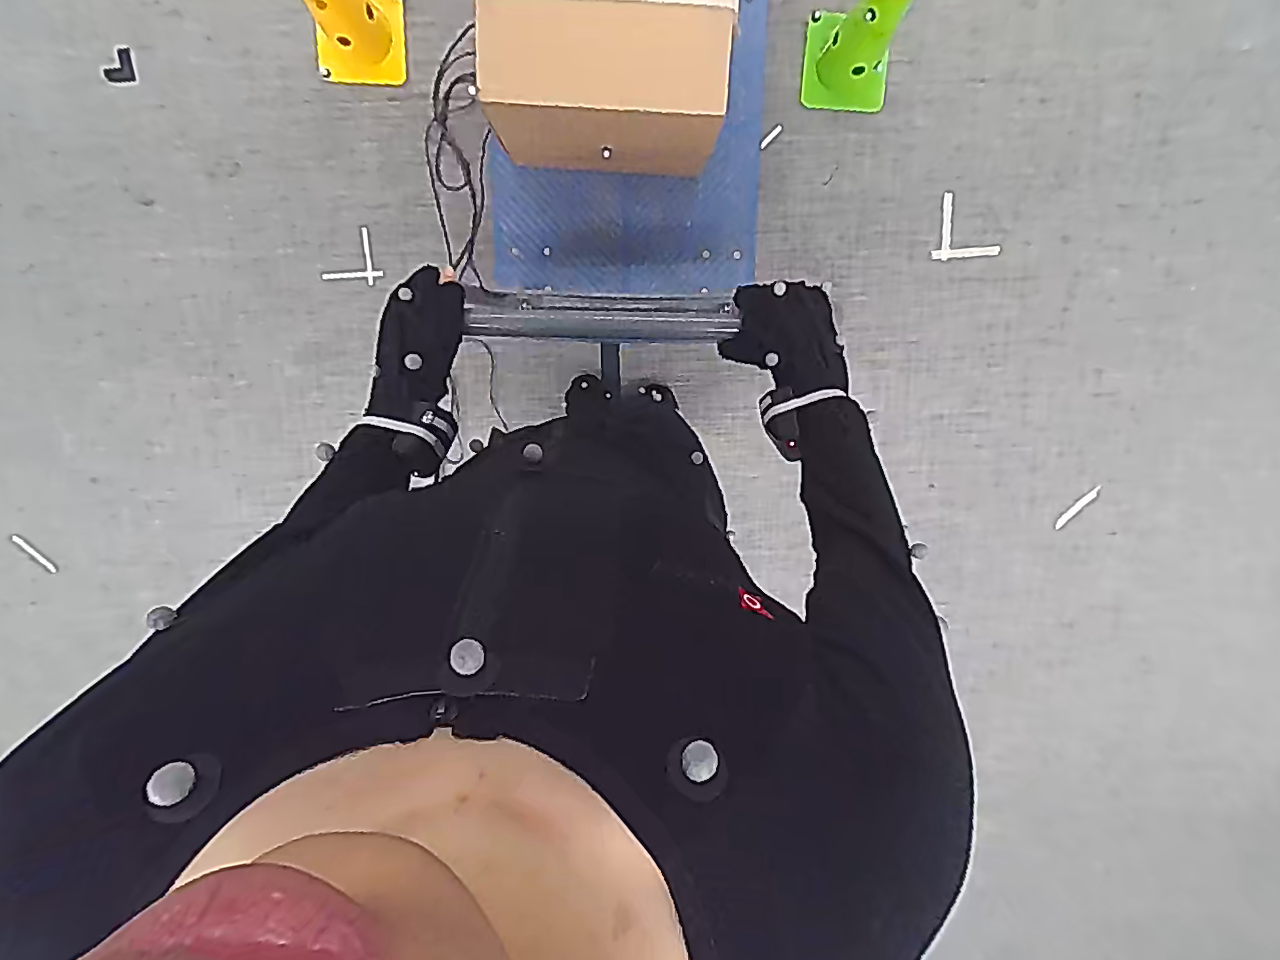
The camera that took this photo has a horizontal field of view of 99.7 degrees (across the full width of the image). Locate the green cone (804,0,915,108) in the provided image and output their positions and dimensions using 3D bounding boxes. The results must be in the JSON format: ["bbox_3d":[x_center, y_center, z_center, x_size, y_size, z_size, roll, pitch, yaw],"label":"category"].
[{"bbox_3d":[0.500,-0.961,1.111,0.202,0.368,0.200,2,102,-3],"label":"green cone"}]

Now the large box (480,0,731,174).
[{"bbox_3d":[-0.053,-0.780,0.994,0.408,0.320,0.320,2,102,-1],"label":"large box"}]
